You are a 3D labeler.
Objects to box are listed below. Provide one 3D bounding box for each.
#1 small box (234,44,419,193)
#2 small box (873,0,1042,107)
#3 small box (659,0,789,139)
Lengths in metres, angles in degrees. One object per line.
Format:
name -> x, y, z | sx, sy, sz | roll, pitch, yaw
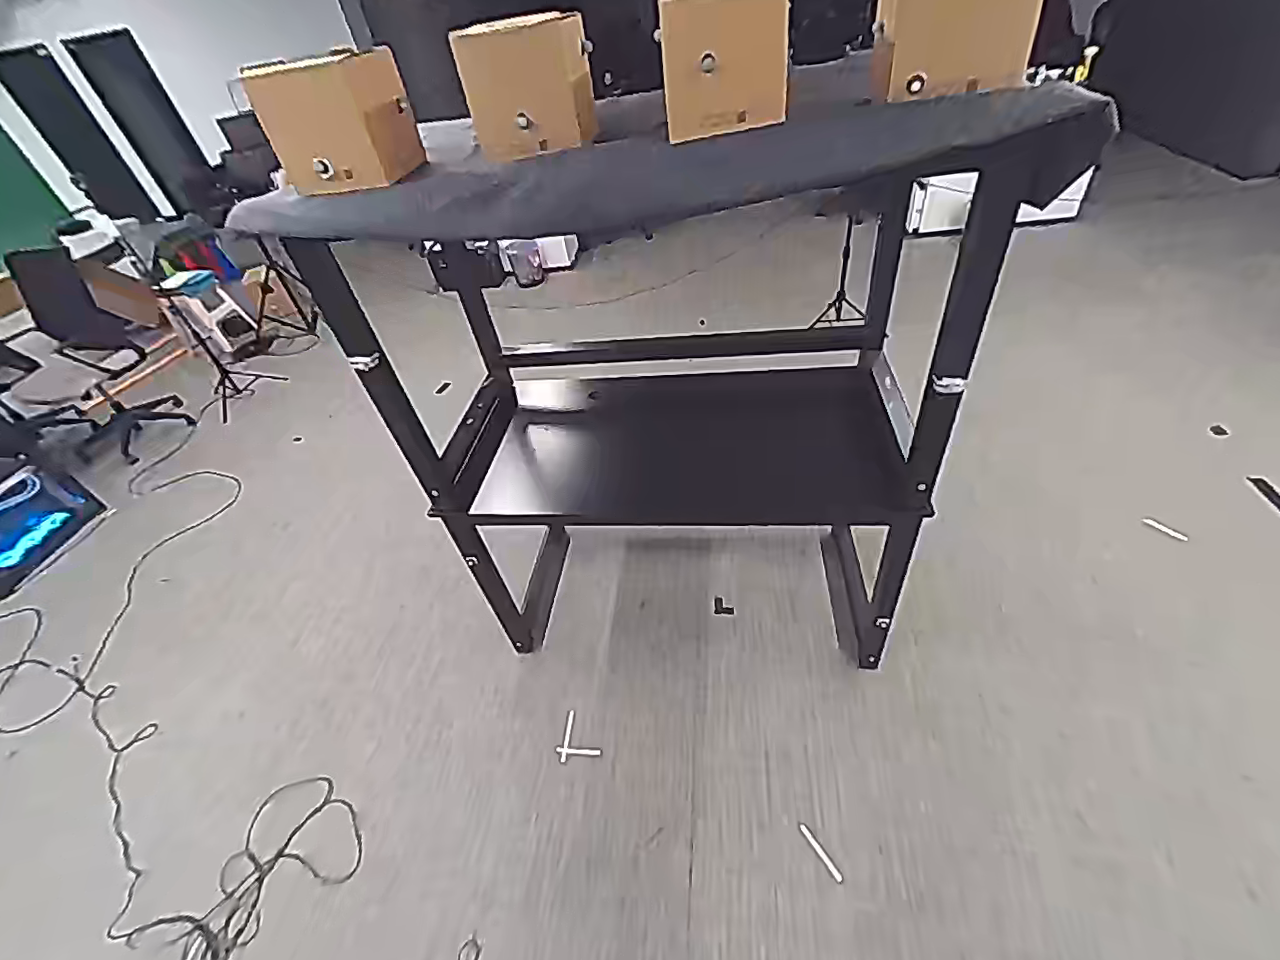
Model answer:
small box -> -0.482, -0.579, 0.870 | 0.168, 0.176, 0.179 | -3, 42, 8
small box -> 0.420, -0.617, 0.728 | 0.168, 0.176, 0.179 | 0, 40, 12
small box -> 0.125, -0.610, 0.785 | 0.168, 0.176, 0.179 | -2, 41, 9
